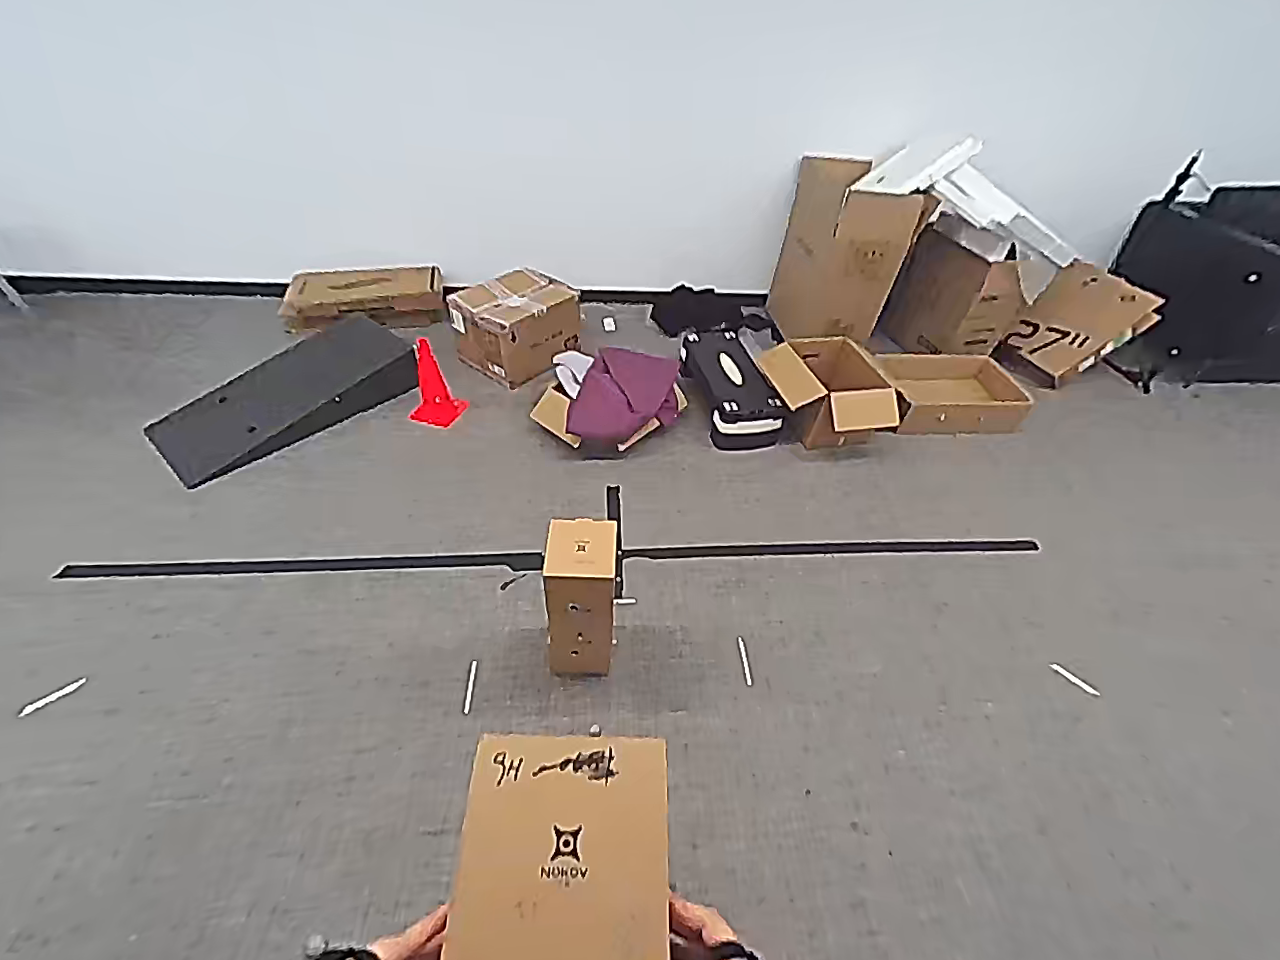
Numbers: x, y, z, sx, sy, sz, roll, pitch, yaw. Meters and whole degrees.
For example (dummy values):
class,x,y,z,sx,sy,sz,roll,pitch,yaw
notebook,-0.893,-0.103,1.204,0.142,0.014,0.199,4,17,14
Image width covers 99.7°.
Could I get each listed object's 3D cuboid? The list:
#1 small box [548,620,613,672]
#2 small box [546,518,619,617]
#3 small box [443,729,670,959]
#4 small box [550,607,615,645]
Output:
class,x,y,z,sx,sy,sz,roll,pitch,yaw
small box,-0.166,0.443,1.567,0.179,0.176,0.168,3,44,-3
small box,-0.138,0.215,1.333,0.168,0.176,0.179,1,45,-3
small box,-0.061,0.336,0.489,0.168,0.176,0.179,3,55,-2
small box,-0.149,0.322,1.456,0.168,0.176,0.179,2,45,-3
